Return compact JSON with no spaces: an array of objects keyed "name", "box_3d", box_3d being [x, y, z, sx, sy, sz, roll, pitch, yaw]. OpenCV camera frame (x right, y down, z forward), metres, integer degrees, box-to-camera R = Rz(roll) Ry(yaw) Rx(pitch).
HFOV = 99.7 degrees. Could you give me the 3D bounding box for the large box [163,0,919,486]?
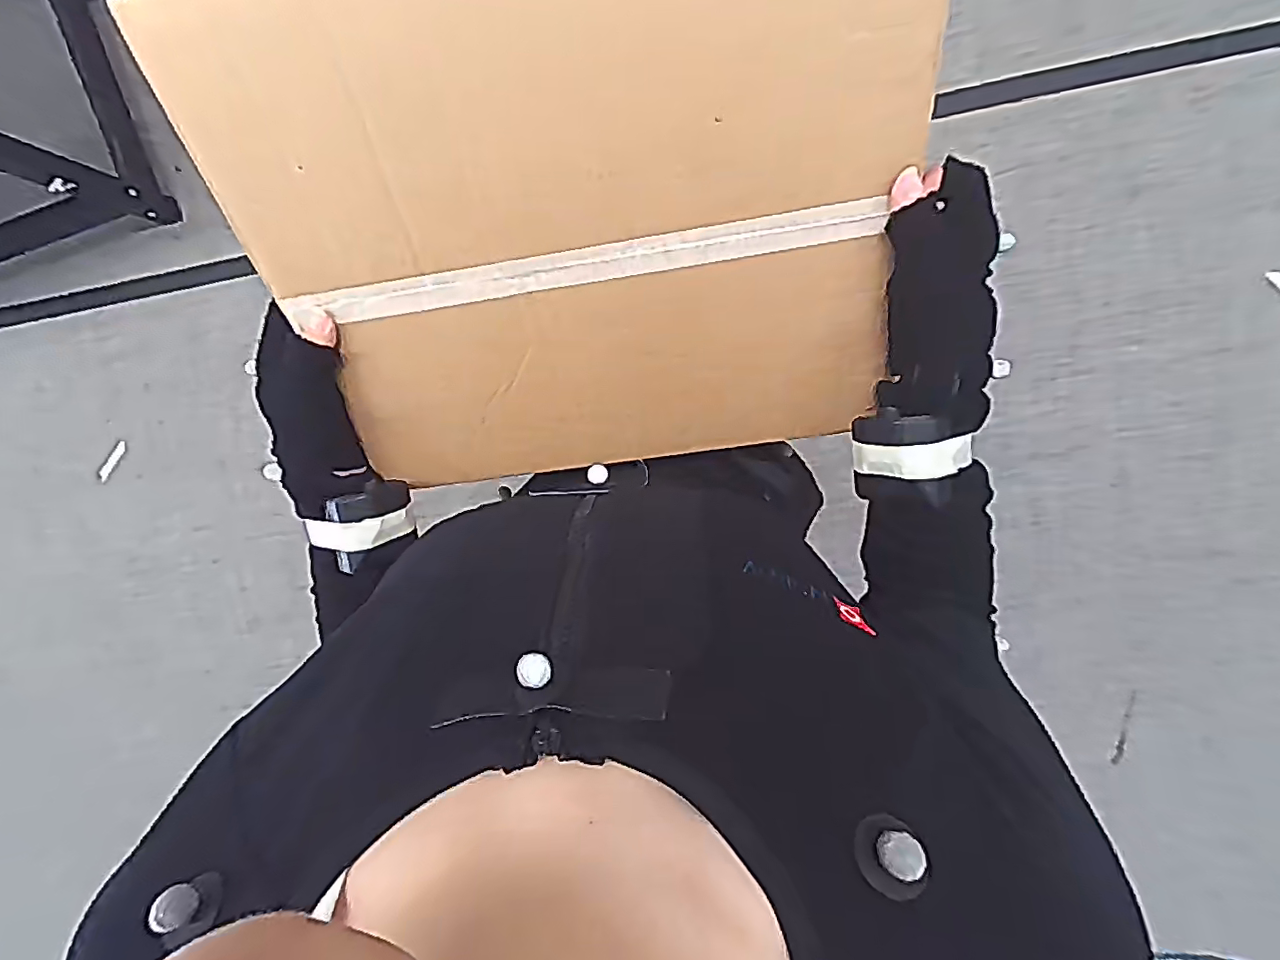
[{"name":"large box","box_3d":[-0.035,-0.232,0.473,0.408,0.320,0.320,-8,127,5]}]
